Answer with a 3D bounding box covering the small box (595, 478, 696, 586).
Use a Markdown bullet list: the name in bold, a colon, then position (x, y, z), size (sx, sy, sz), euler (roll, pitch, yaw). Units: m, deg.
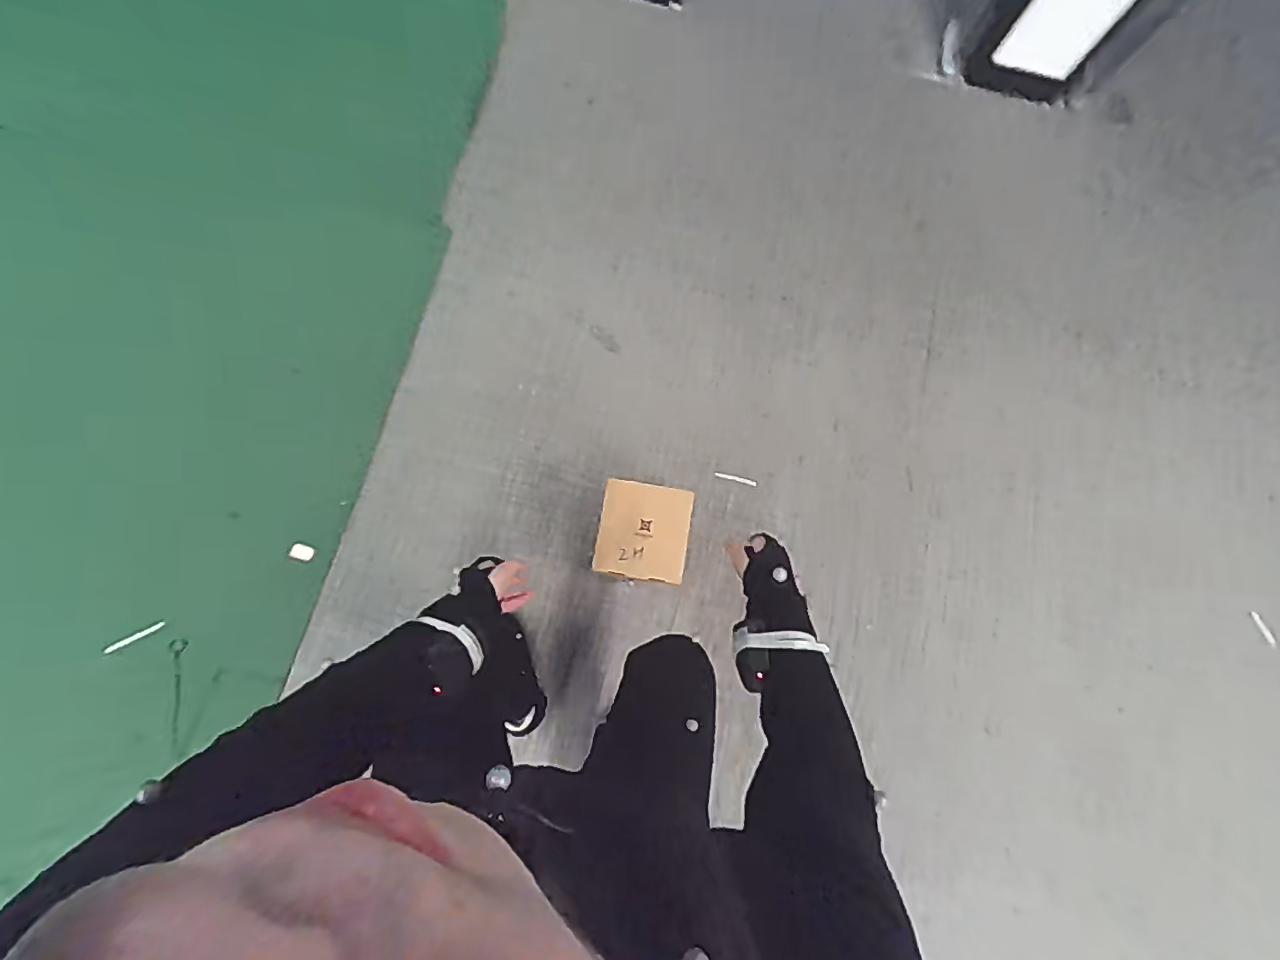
- **small box**: position (0.007, 0.109, 1.076), size (0.168, 0.176, 0.179), euler (10, 78, -1)
